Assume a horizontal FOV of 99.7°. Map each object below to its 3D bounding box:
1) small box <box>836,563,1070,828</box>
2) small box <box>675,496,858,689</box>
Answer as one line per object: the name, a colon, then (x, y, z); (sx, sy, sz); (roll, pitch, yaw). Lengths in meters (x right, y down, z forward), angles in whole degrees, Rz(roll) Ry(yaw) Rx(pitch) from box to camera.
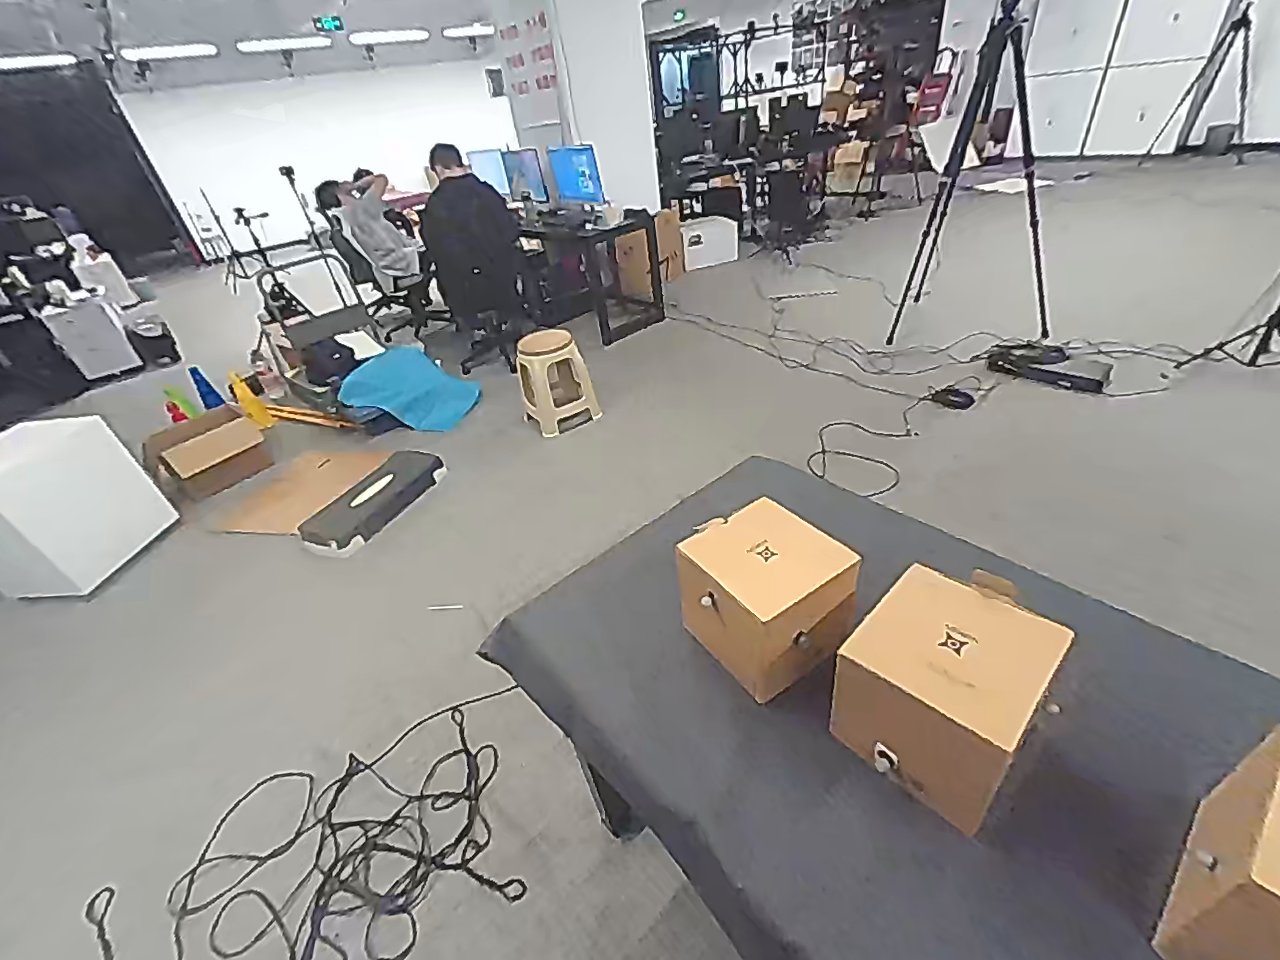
small box: (0.335, 0.232, 0.606); (0.179, 0.176, 0.168); (-33, 40, -31)
small box: (0.170, 0.157, 0.748); (0.168, 0.176, 0.179); (-25, 38, -23)
